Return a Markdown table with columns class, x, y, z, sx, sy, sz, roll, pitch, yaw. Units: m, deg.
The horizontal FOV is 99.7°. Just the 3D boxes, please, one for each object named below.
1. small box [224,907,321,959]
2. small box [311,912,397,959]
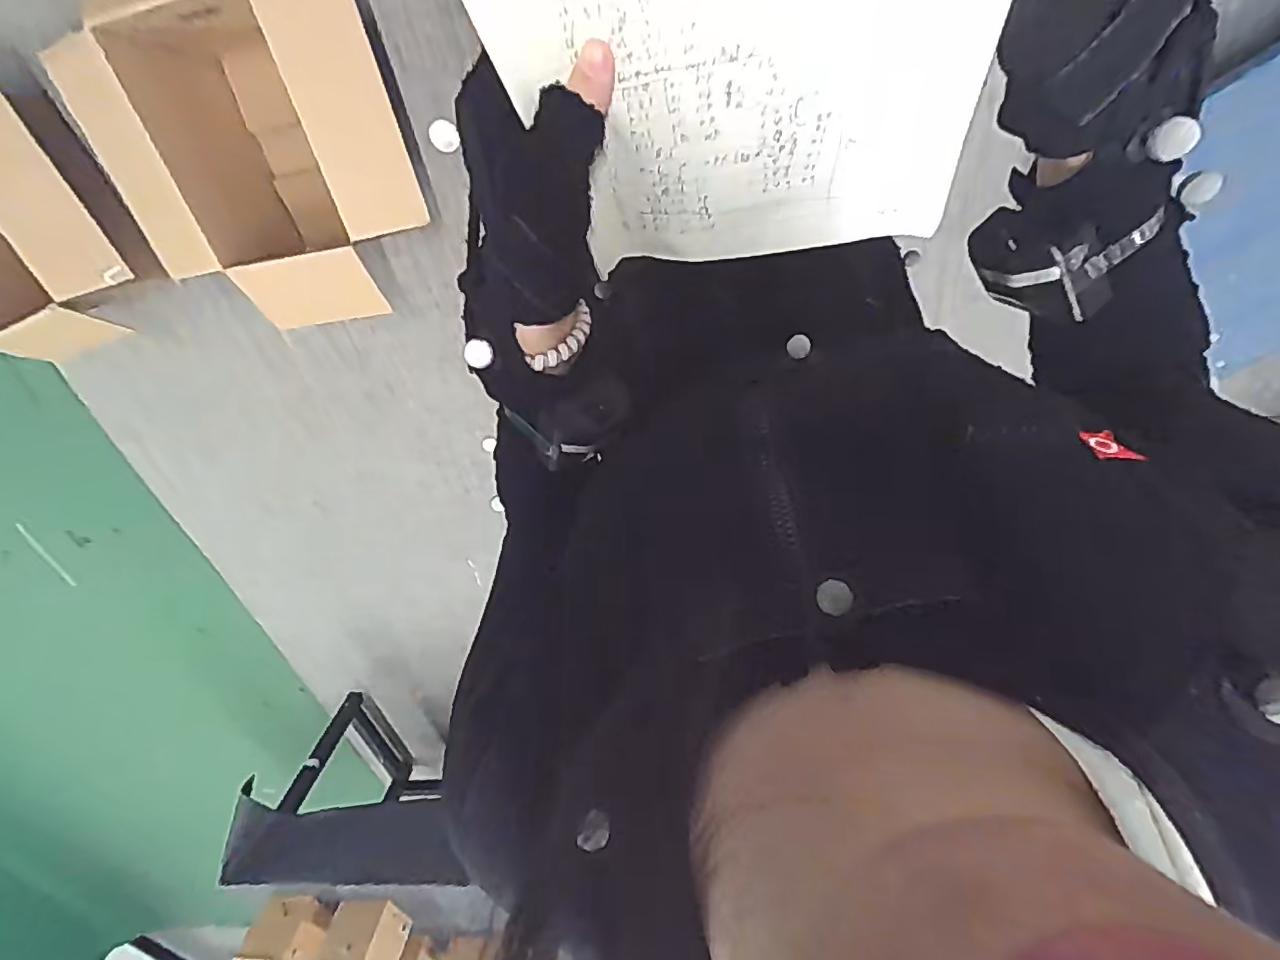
| class | x | y | z | sx | sy | sz | roll | pitch | yaw |
| --- | --- | --- | --- | --- | --- | --- | --- | --- | --- |
| small box | -1.113 | 1.433 | 1.640 | 0.168 | 0.176 | 0.179 | -5 | 120 | 8 |
| small box | -0.854 | 1.416 | 1.605 | 0.179 | 0.176 | 0.168 | -10 | 119 | 11 |
